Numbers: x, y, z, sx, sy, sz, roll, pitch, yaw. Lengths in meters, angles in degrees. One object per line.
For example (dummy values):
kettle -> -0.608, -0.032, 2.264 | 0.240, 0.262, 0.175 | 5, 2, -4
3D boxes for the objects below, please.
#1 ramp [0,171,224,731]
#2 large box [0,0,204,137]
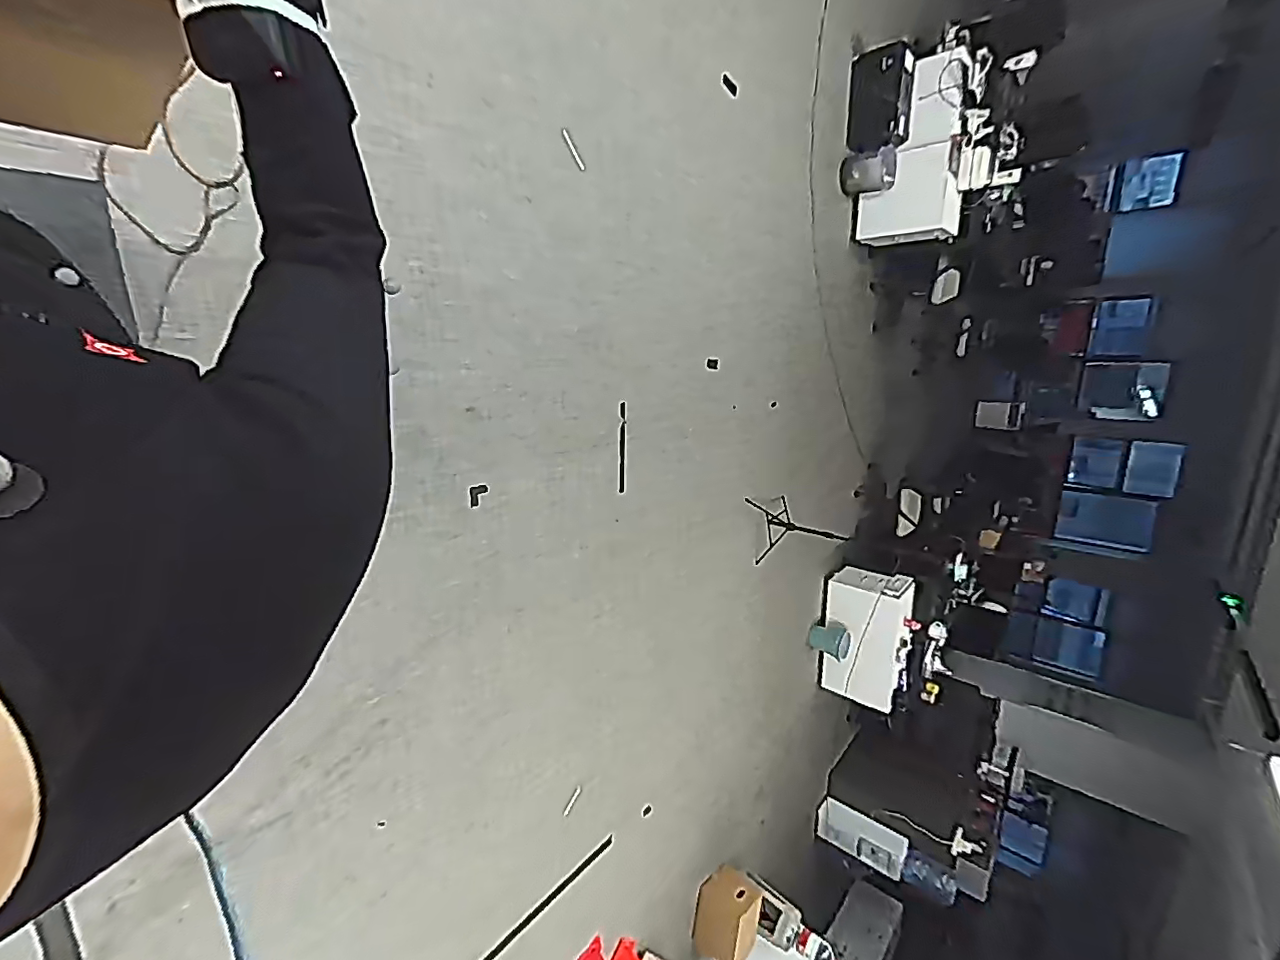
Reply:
ramp -> -1.162, -0.055, 0.970 | 0.509, 0.206, 0.991 | -17, 111, -45
large box -> -0.541, -0.444, 0.286 | 0.408, 0.320, 0.320 | -16, 108, -47
